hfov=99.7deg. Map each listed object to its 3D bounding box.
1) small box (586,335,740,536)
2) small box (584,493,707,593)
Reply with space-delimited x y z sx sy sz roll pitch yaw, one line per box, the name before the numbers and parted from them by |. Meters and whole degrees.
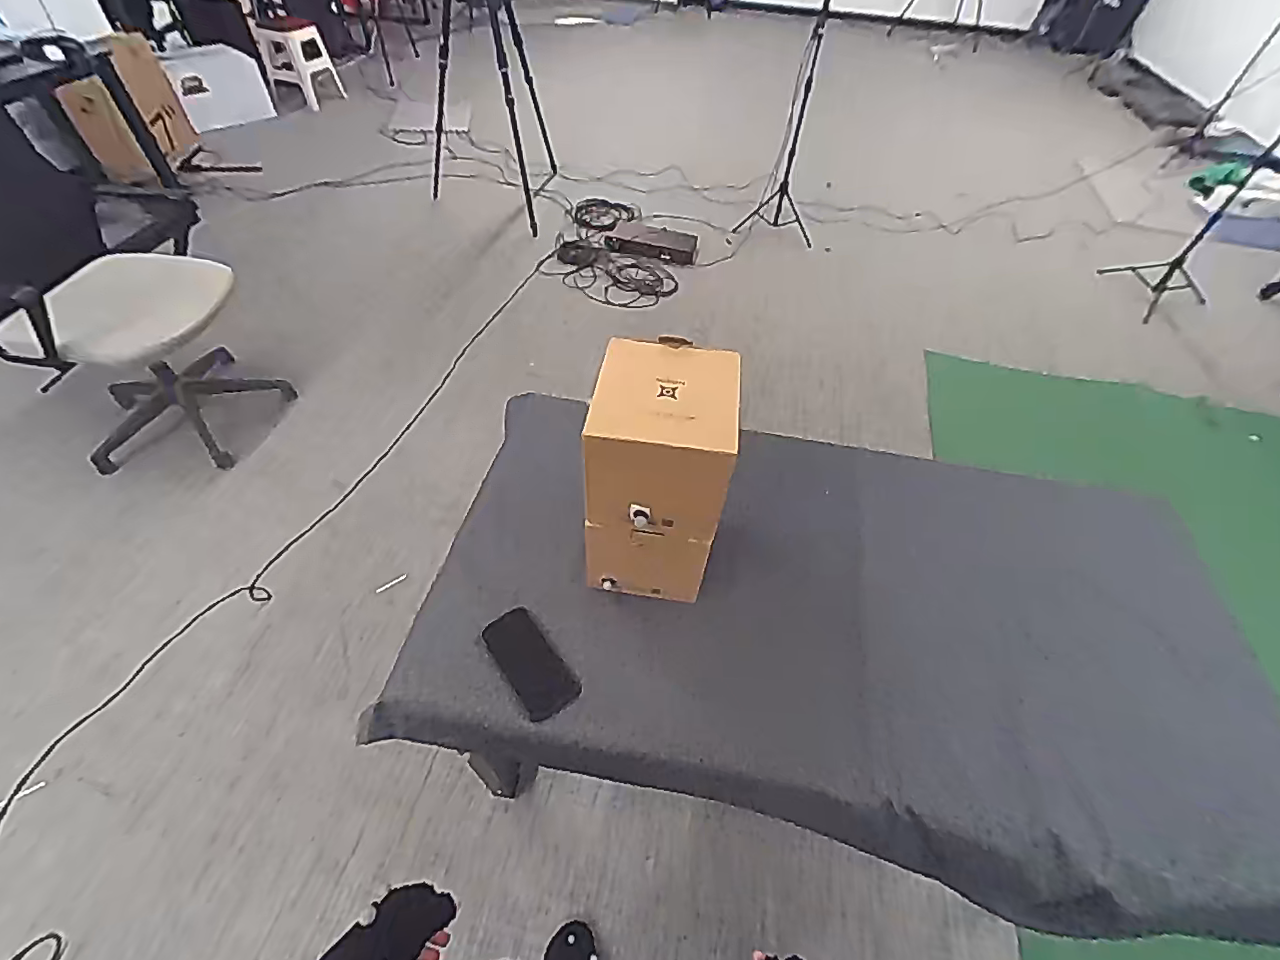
small box | 0.028 -0.054 0.682 0.168 0.176 0.179 7 52 3
small box | 0.016 0.049 0.807 0.168 0.176 0.179 8 50 2
